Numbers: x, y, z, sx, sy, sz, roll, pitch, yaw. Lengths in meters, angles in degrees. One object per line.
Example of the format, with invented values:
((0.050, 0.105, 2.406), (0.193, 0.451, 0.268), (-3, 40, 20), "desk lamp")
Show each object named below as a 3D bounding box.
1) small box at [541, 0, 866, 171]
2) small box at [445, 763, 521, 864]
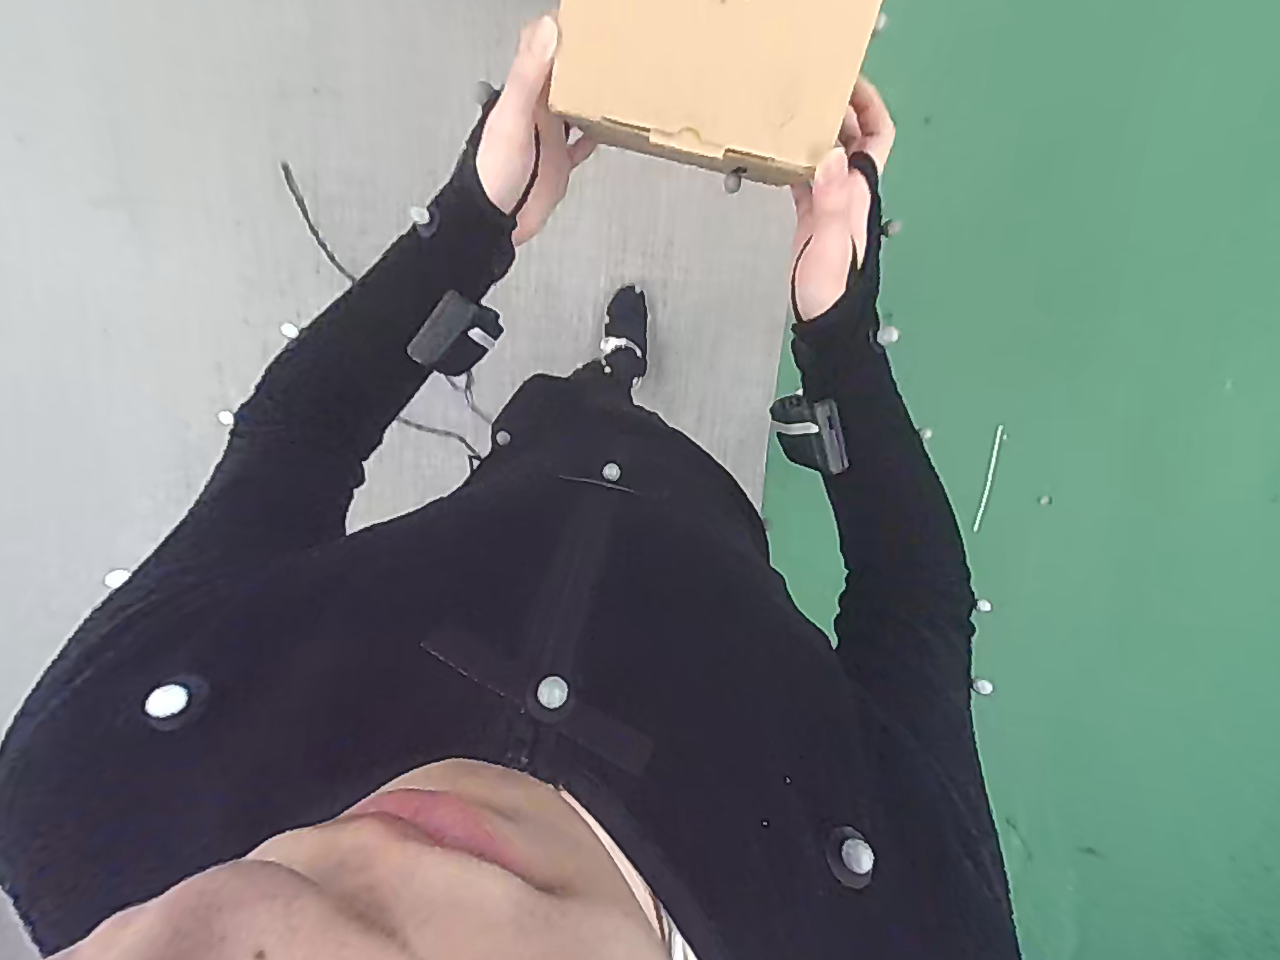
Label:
((0.048, -0.311, 0.341), (0.168, 0.176, 0.179), (14, 117, -1), "small box")
((-0.437, 0.930, 1.520), (0.168, 0.176, 0.179), (4, 102, 2), "small box")
